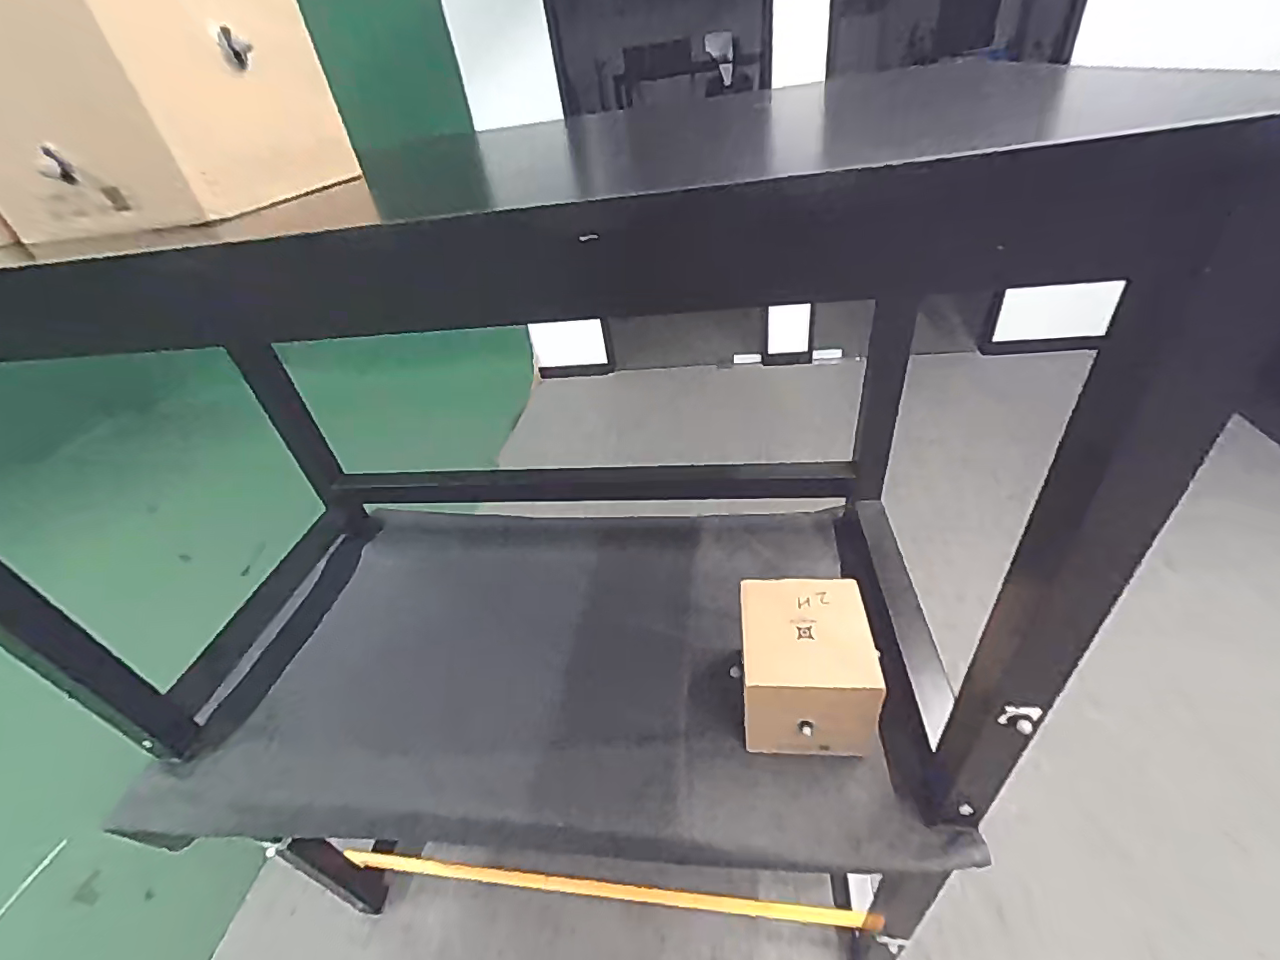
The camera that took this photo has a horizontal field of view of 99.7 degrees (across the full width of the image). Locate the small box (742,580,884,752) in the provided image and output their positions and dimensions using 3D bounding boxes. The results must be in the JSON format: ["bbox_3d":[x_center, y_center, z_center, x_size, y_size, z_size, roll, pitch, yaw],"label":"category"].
[{"bbox_3d":[0.233,0.263,0.768,0.168,0.176,0.179,-2,37,9],"label":"small box"}]
